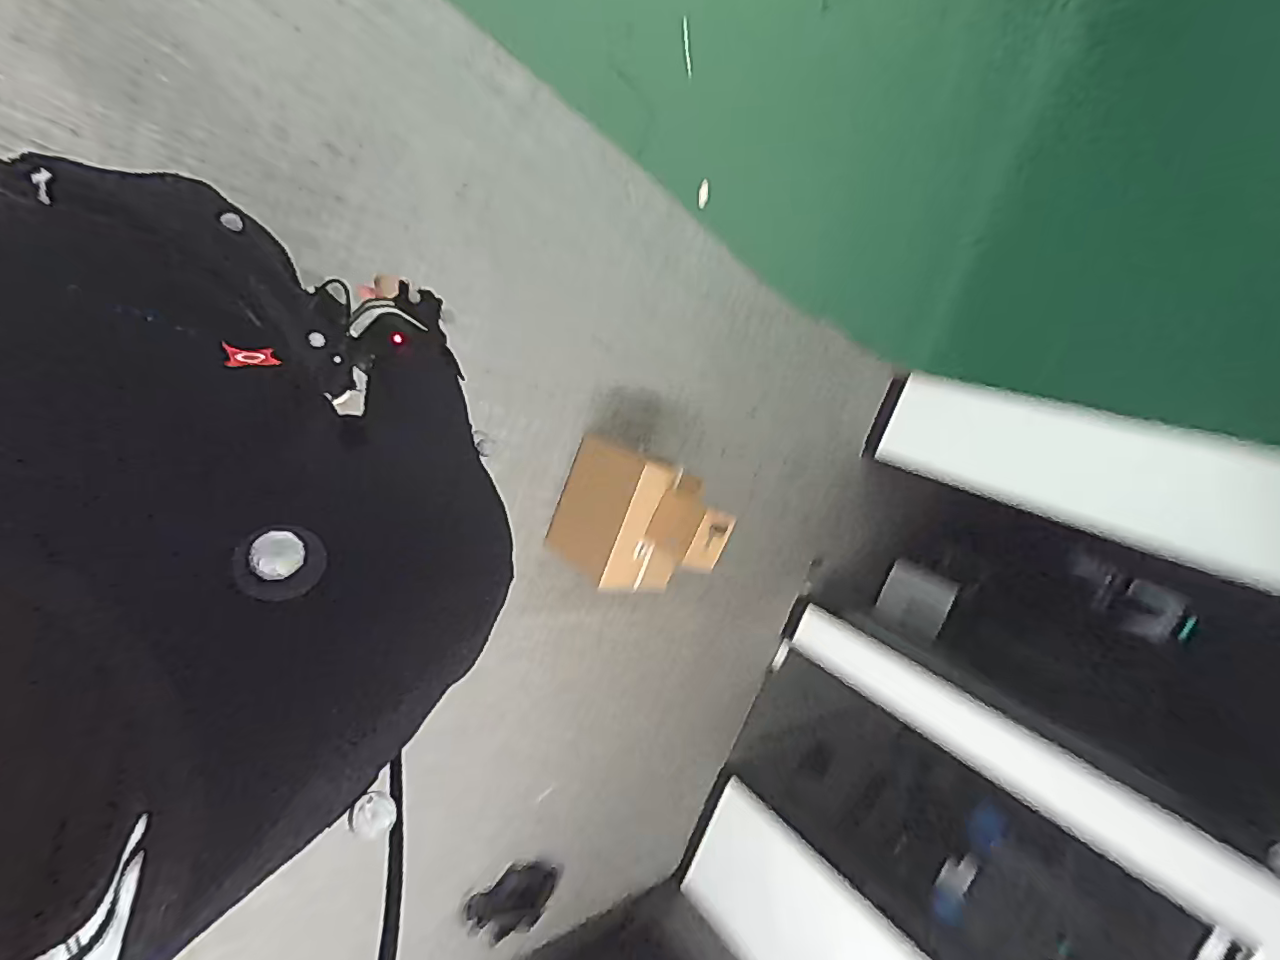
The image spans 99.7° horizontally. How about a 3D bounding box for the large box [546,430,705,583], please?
[{"bbox_3d":[-0.053,0.088,1.784,0.320,0.320,0.408,12,104,-45],"label":"large box"}]
